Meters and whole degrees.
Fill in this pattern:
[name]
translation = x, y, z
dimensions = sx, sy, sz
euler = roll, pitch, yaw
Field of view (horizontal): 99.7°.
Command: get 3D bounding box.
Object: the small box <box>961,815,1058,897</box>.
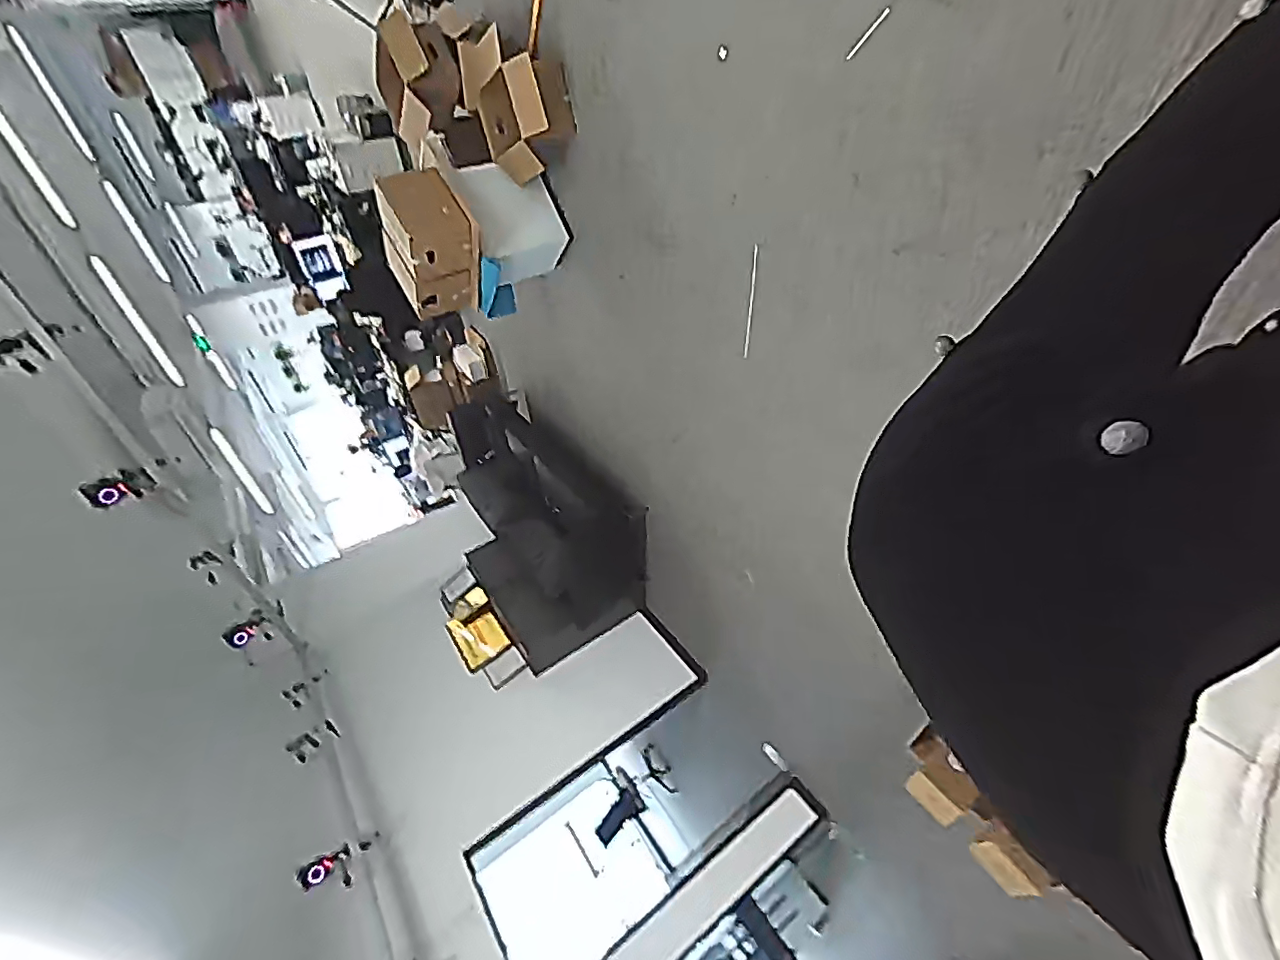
[small box]
translation = 1.253, 1.270, 1.837
dimensions = 0.179, 0.176, 0.168
euler = 51, 153, 29
